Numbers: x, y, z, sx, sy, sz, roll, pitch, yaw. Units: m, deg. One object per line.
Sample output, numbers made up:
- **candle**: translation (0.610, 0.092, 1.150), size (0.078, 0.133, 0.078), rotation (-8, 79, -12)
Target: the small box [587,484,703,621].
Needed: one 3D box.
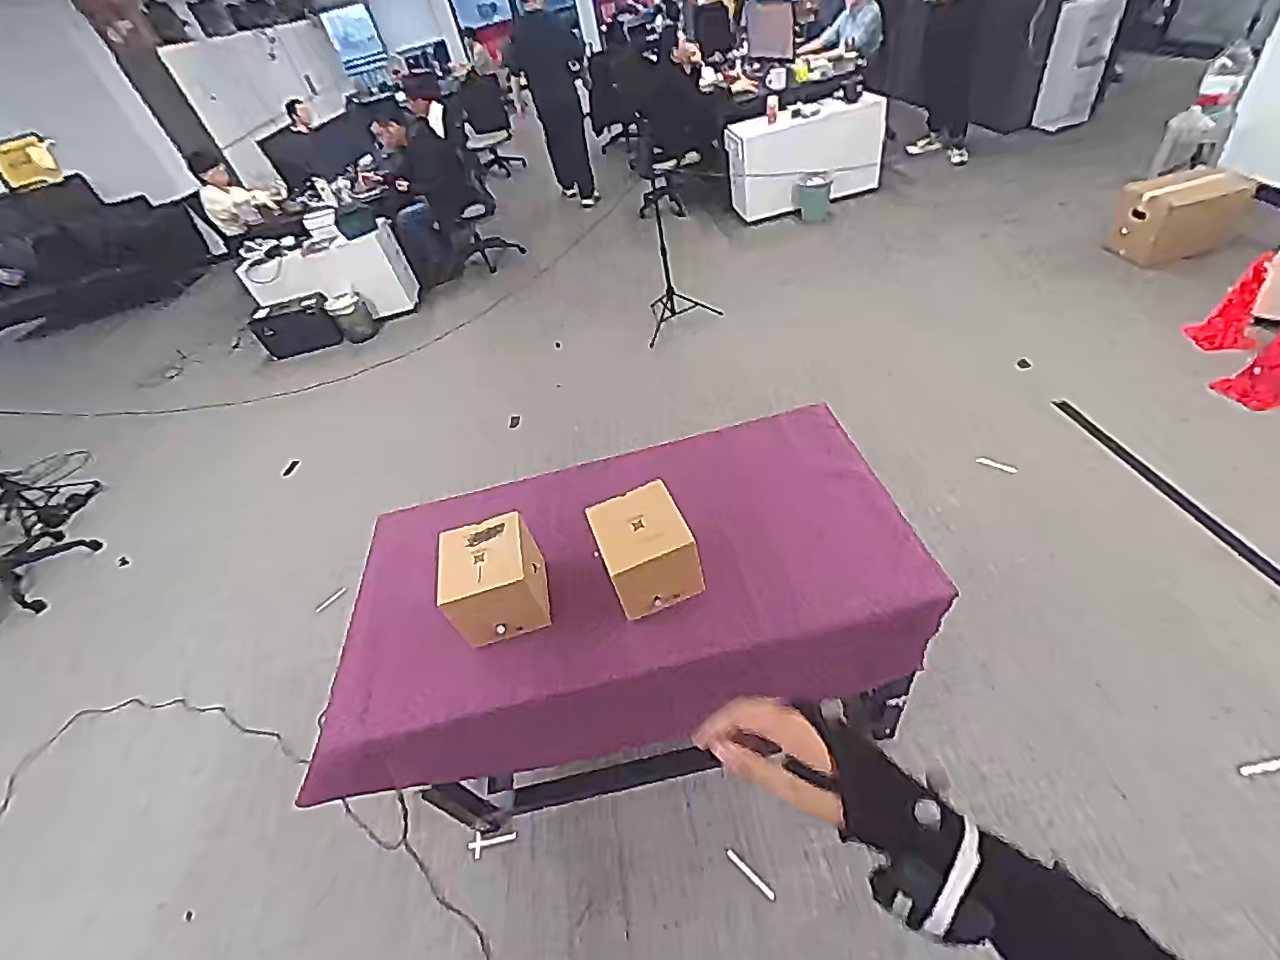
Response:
- **small box**: translation (0.011, 0.145, 1.072), size (0.168, 0.176, 0.179), rotation (-22, 44, -6)

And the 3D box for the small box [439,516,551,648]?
- **small box**: translation (-0.288, 0.206, 1.093), size (0.168, 0.176, 0.179), rotation (-17, 44, -1)
